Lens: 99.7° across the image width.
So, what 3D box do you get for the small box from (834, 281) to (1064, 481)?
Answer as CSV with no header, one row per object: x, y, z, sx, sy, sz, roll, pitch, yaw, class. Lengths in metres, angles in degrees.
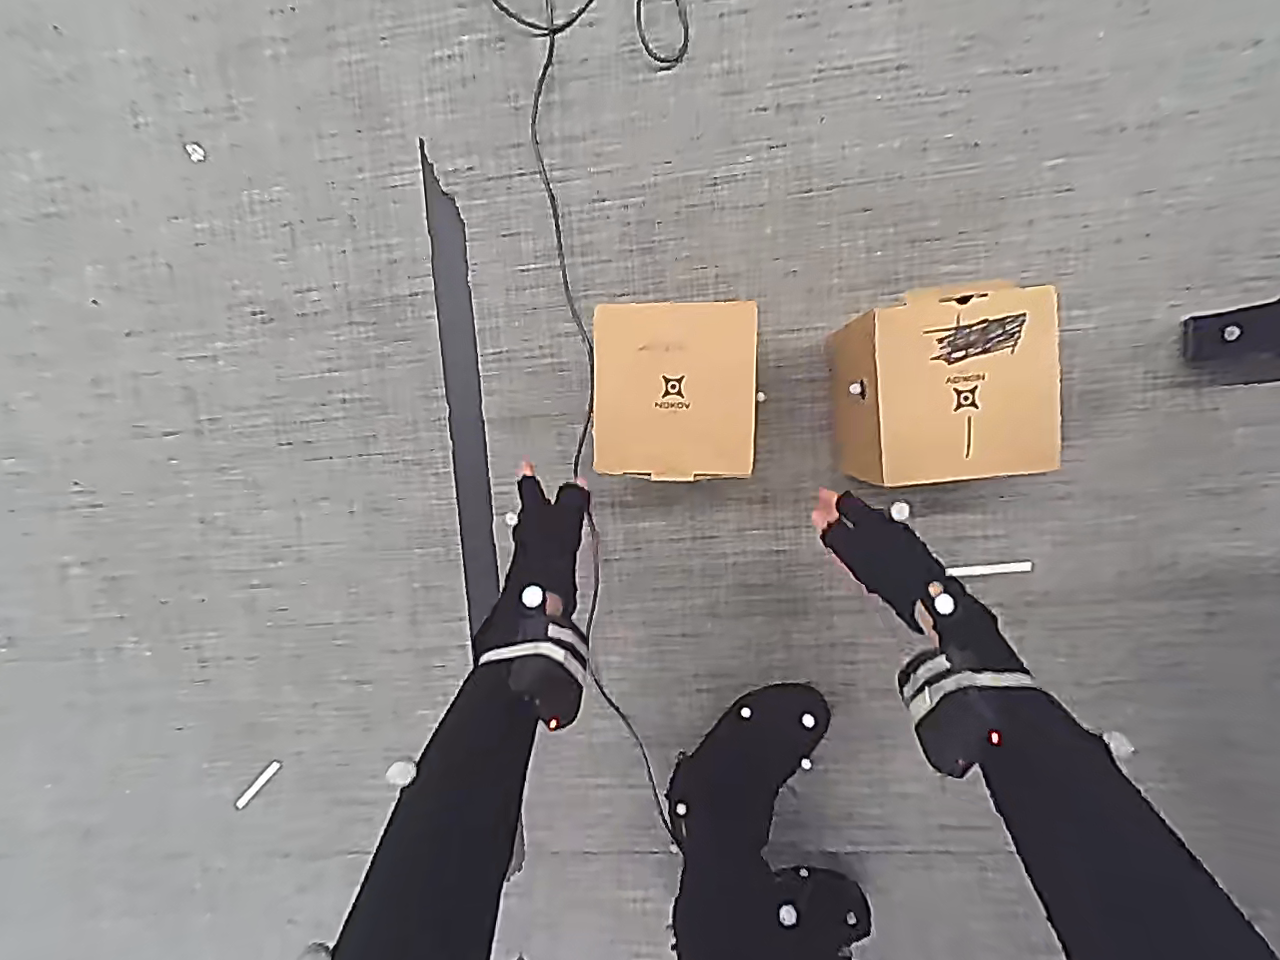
0.320,-0.099,0.592,0.168,0.176,0.179,-6,96,6,small box

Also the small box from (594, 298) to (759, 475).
0.042,-0.100,0.622,0.168,0.176,0.179,1,94,5,small box
